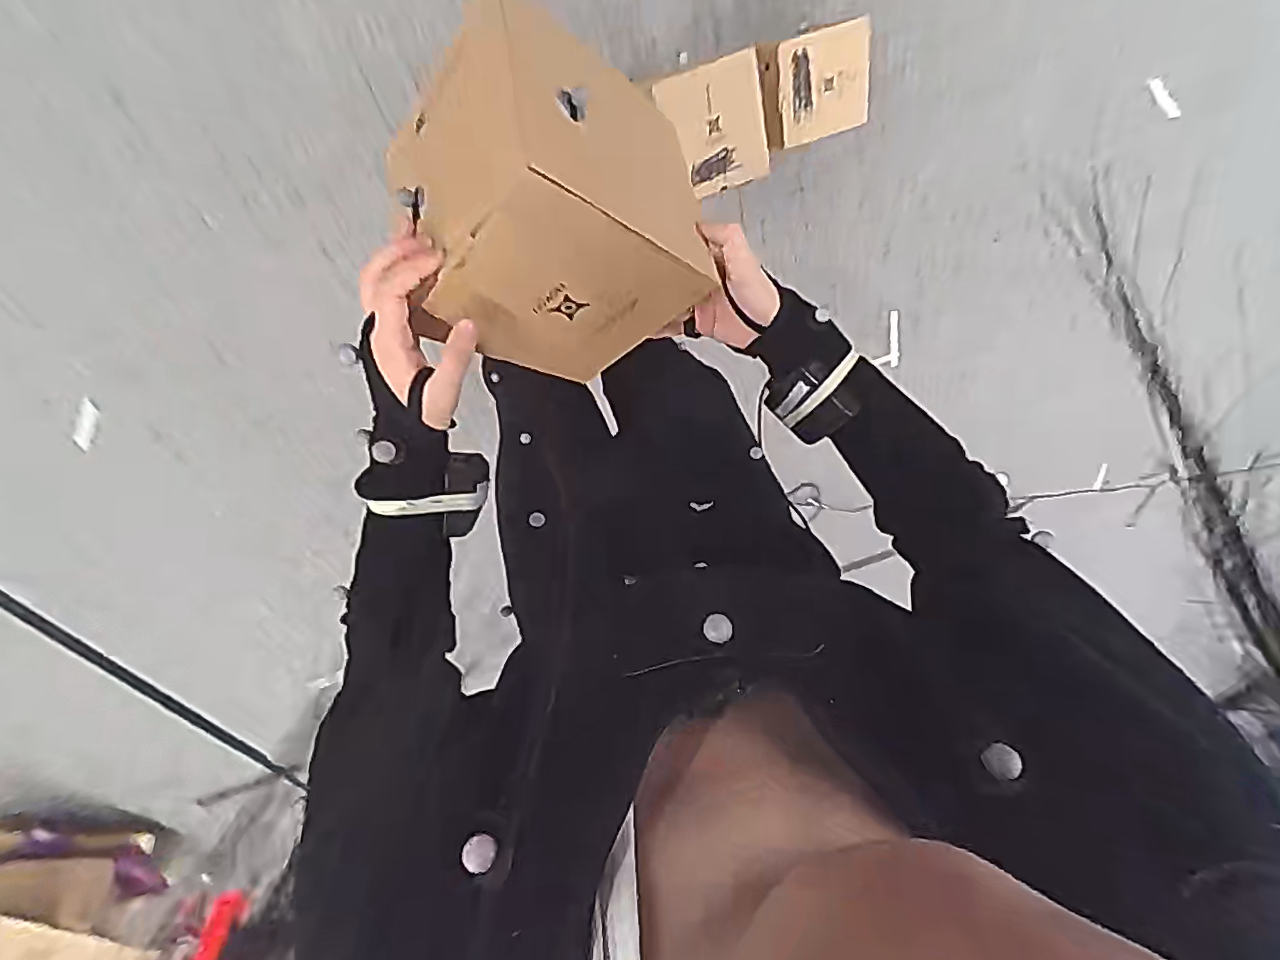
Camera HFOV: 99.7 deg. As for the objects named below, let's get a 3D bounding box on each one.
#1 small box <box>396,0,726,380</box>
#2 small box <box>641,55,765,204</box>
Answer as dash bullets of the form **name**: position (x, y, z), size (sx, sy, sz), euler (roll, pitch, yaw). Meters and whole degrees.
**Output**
- **small box**: position (-0.065, -0.202, 0.411), size (0.168, 0.176, 0.179), euler (-25, 161, 38)
- **small box**: position (0.093, -0.581, 0.910), size (0.168, 0.176, 0.179), euler (-21, 127, -1)
